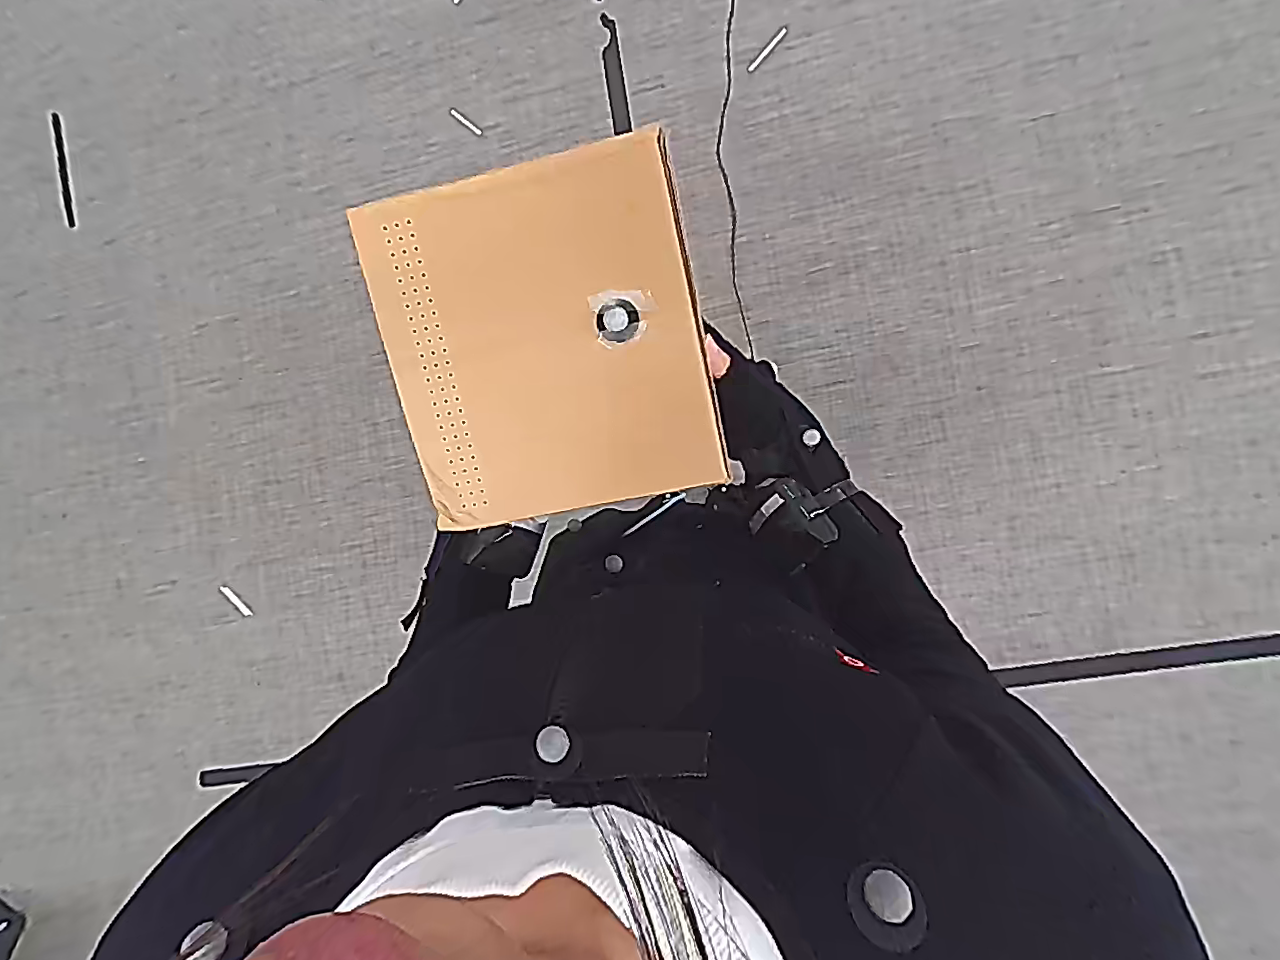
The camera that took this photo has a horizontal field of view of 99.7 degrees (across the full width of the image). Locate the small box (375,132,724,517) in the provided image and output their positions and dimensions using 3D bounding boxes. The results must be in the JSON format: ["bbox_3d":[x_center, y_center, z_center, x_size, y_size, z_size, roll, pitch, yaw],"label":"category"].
[{"bbox_3d":[-0.046,-0.089,0.367,0.176,0.168,0.179,-10,100,8],"label":"small box"}]
